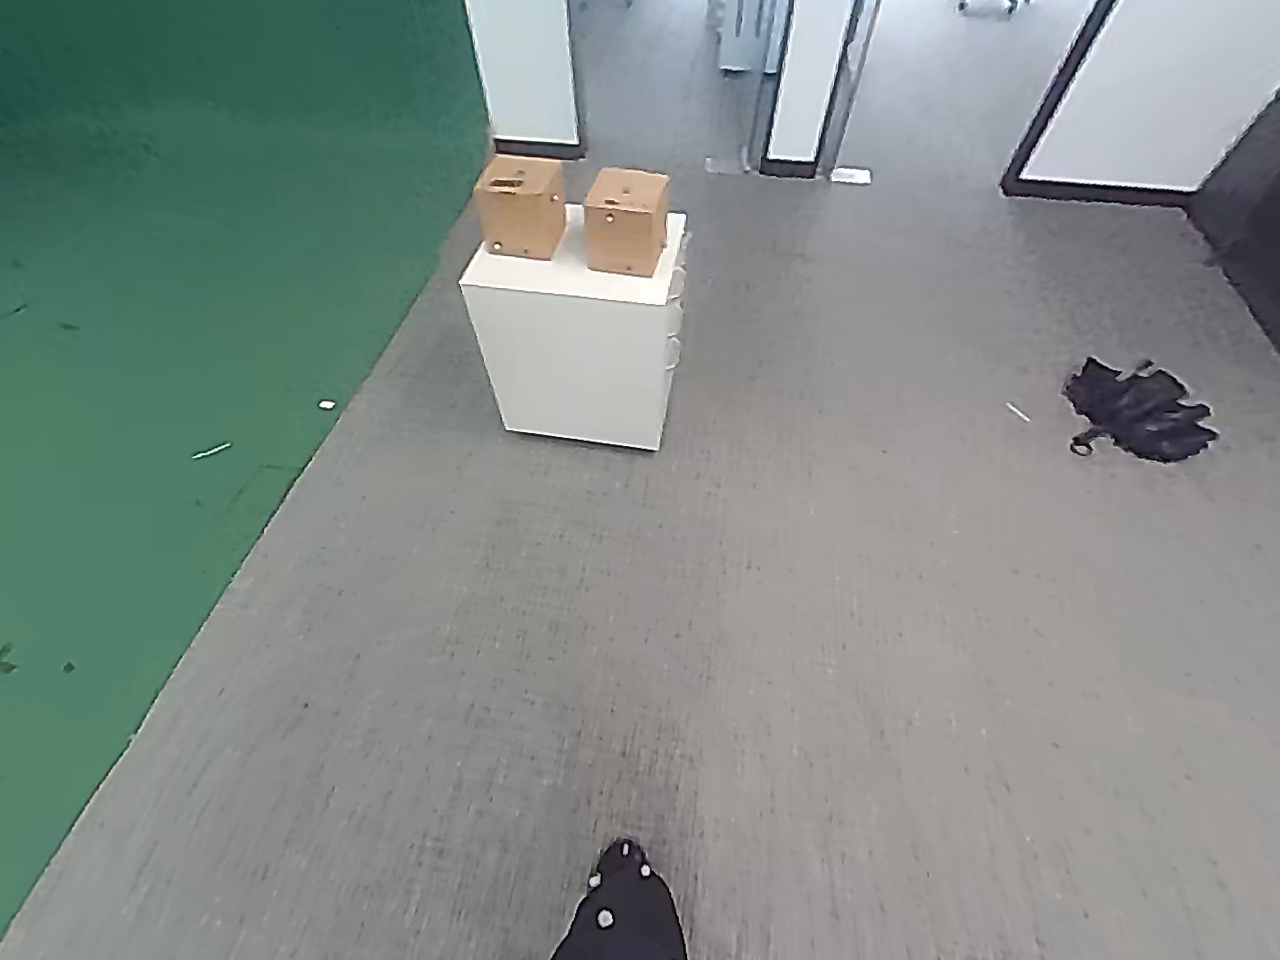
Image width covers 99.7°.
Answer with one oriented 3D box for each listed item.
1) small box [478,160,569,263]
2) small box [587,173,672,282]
[{"bbox_3d":[-0.282,-0.673,1.363,0.168,0.176,0.179,9,55,6],"label":"small box"},{"bbox_3d":[-0.023,-0.616,1.321,0.168,0.176,0.179,11,56,9],"label":"small box"}]
